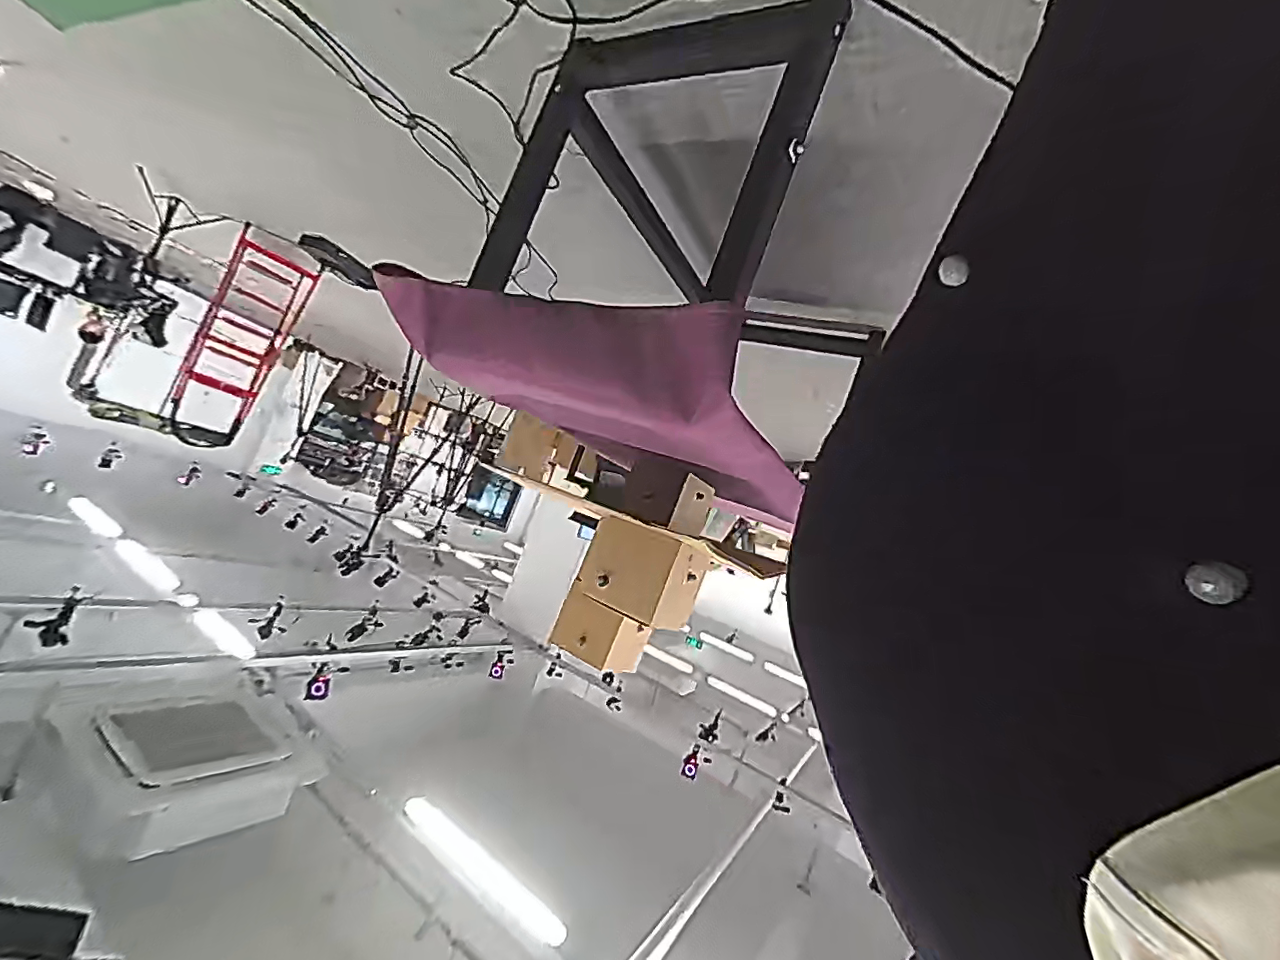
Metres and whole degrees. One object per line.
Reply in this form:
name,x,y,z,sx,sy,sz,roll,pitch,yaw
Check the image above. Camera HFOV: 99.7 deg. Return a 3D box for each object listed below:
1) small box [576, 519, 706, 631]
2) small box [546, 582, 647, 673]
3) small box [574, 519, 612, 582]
small box,0.008,0.188,1.091,0.179,0.176,0.168,17,172,31
small box,-0.094,0.358,1.337,0.179,0.176,0.168,16,170,33
small box,-0.028,0.210,1.353,0.179,0.176,0.168,18,171,32
